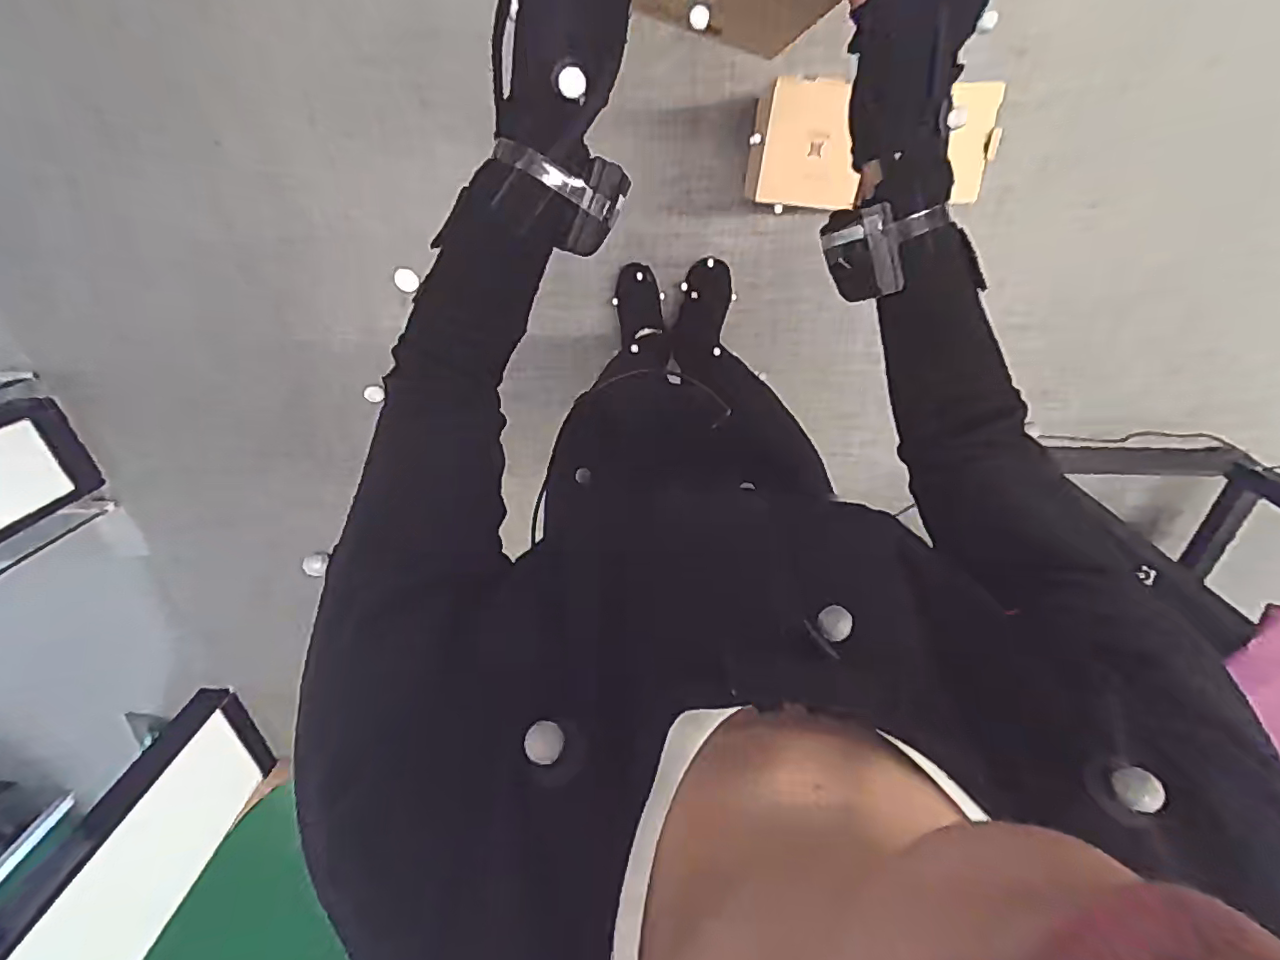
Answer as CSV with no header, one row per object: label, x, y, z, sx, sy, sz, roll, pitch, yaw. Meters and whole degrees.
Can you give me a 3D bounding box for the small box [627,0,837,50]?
small box,0.072,-0.432,0.352,0.168,0.176,0.179,9,112,-14
